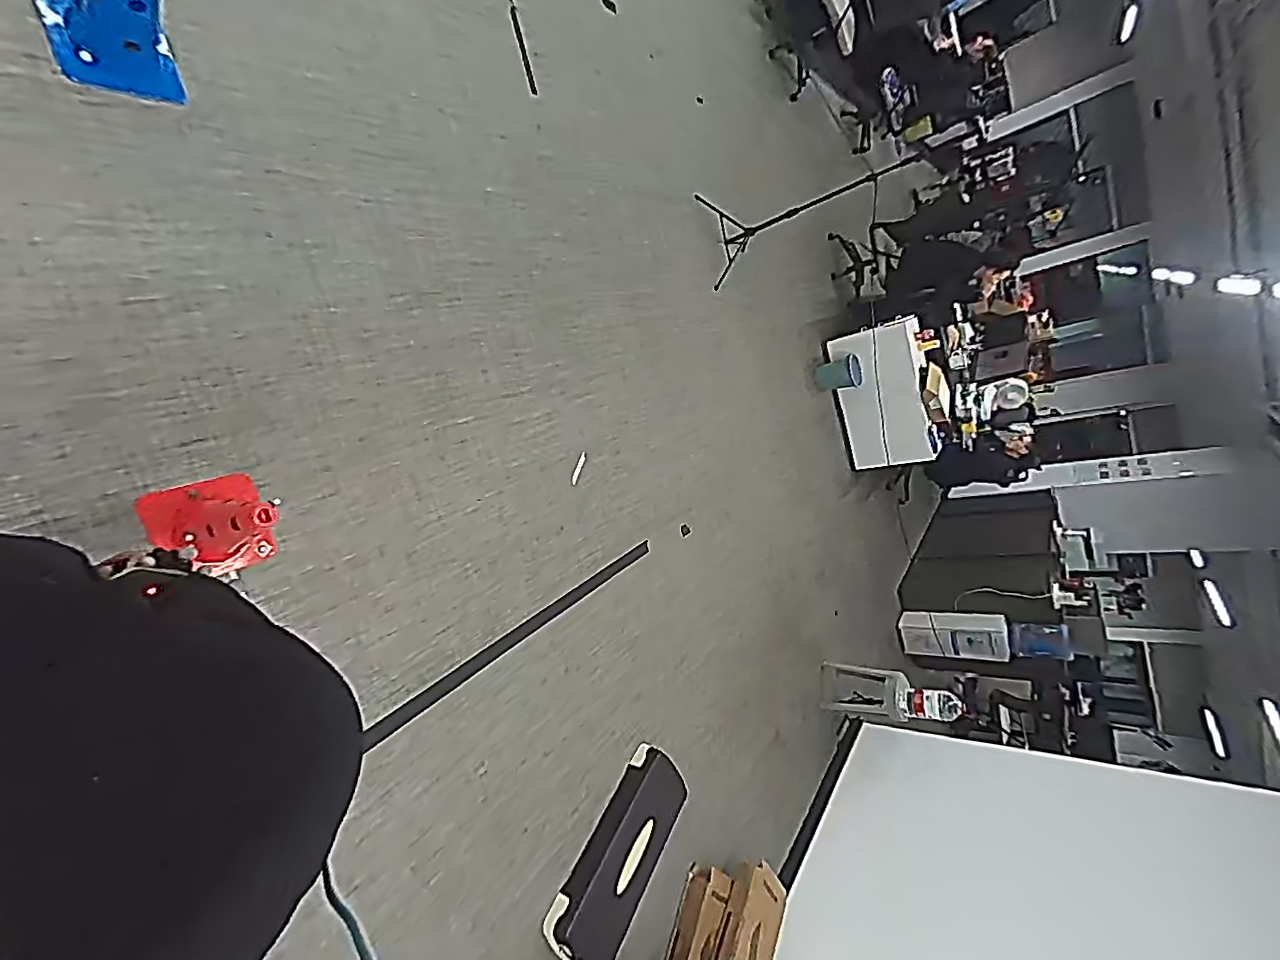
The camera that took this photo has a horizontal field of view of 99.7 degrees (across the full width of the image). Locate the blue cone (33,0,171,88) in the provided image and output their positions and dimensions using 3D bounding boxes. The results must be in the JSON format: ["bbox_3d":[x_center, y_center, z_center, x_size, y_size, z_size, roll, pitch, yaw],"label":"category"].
[{"bbox_3d":[-0.972,-0.936,1.001,0.193,0.380,0.192,-22,100,-50],"label":"blue cone"}]
